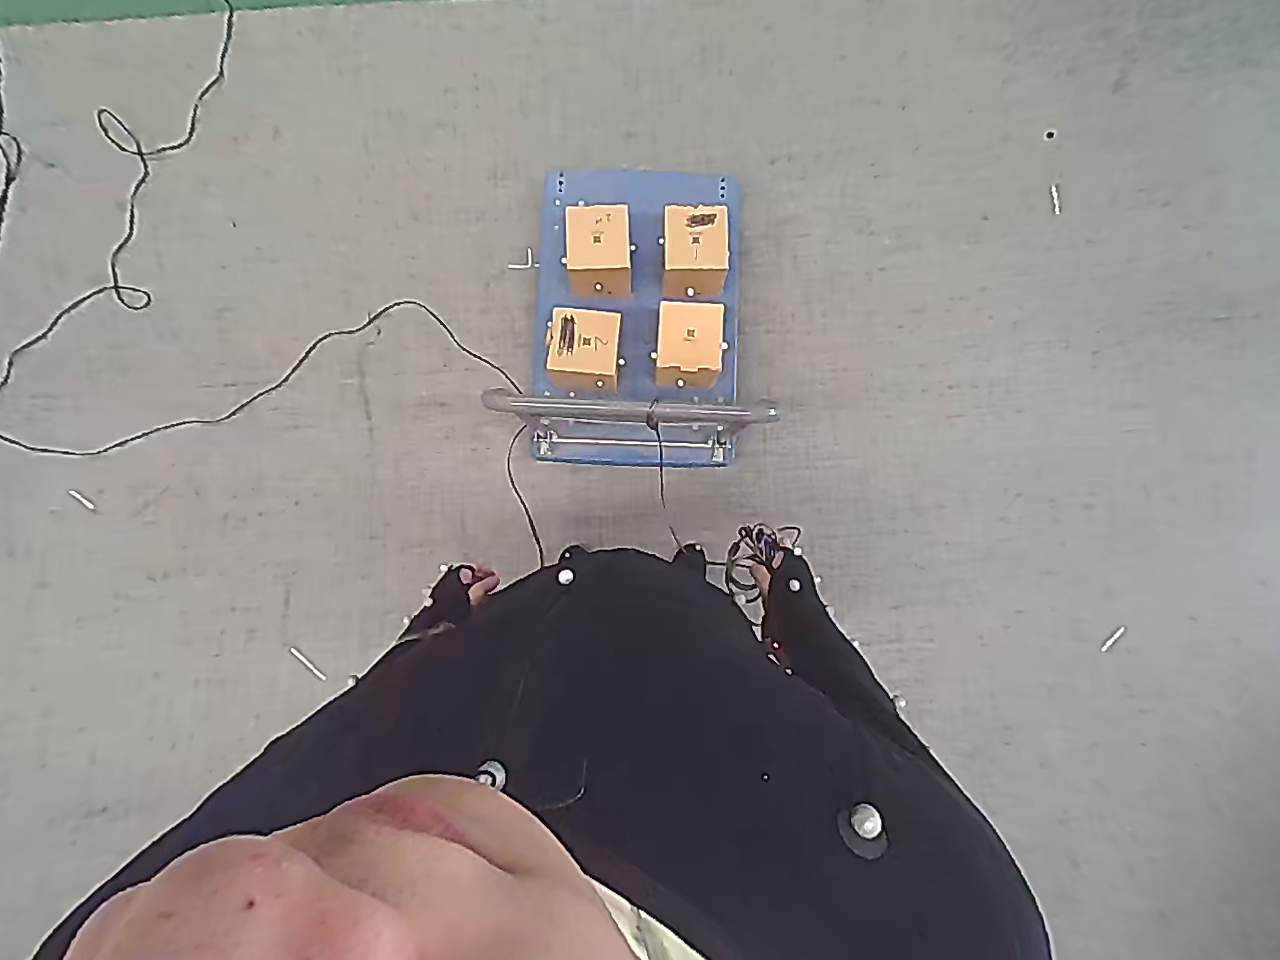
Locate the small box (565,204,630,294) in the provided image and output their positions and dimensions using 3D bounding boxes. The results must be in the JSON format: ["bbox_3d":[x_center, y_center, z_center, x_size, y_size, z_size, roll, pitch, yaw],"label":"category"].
[{"bbox_3d":[-0.112,-0.621,1.475,0.168,0.176,0.179,-2,84,-1],"label":"small box"}]

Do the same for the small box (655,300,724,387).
[{"bbox_3d":[0.128,-0.360,1.450,0.168,0.176,0.179,3,85,0],"label":"small box"}]

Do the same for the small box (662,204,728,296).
[{"bbox_3d":[0.146,-0.621,1.475,0.168,0.176,0.179,0,85,1],"label":"small box"}]
